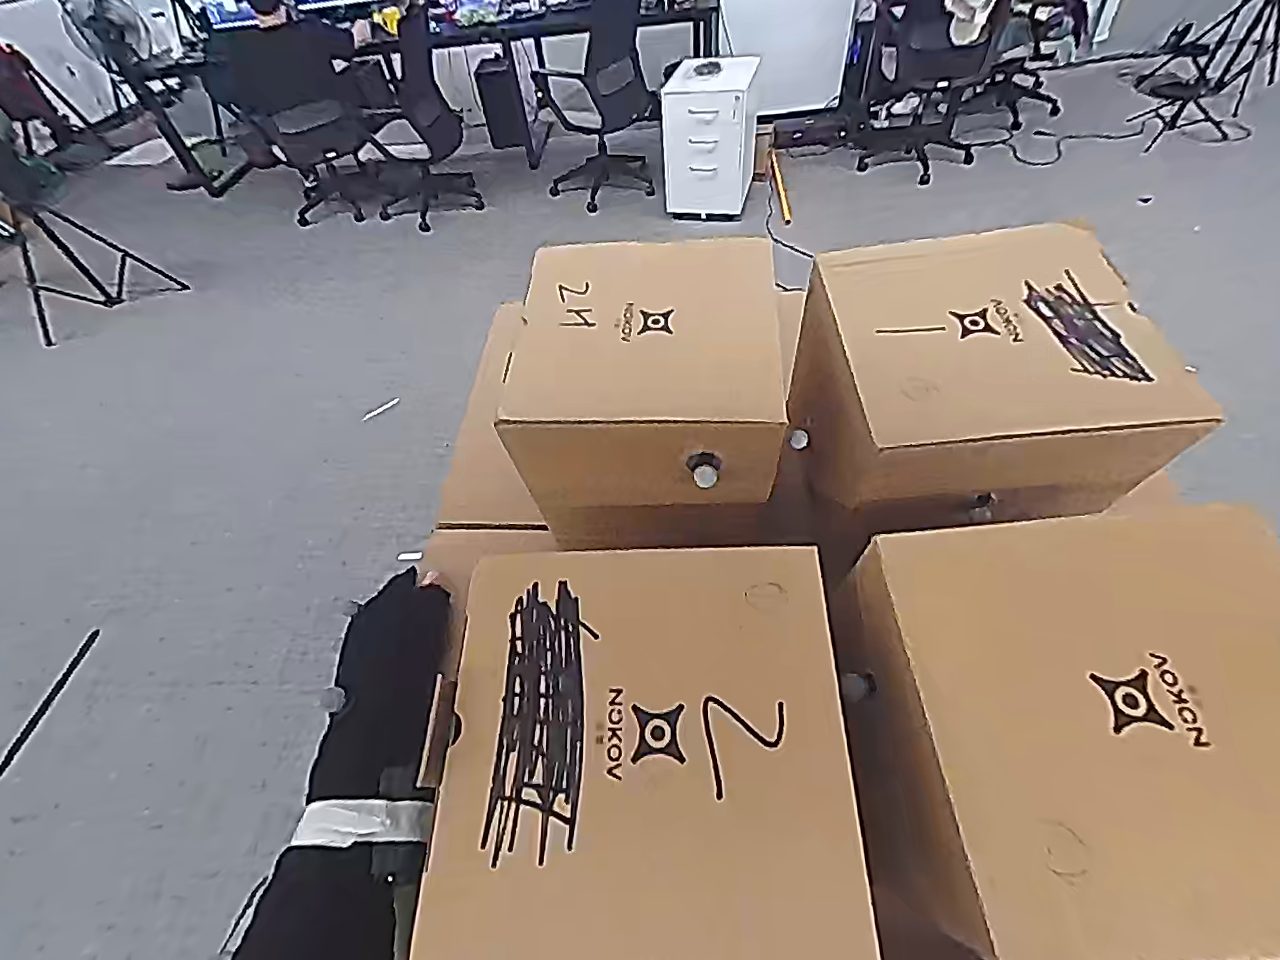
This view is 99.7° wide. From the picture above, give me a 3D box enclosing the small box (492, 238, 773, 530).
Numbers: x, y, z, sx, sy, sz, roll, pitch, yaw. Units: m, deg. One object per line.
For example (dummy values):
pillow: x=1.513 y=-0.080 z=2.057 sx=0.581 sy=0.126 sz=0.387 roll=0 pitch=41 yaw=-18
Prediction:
small box: x=0.007 y=-0.069 z=0.436 sx=0.179 sy=0.176 sz=0.168 roll=1 pitch=59 yaw=8
